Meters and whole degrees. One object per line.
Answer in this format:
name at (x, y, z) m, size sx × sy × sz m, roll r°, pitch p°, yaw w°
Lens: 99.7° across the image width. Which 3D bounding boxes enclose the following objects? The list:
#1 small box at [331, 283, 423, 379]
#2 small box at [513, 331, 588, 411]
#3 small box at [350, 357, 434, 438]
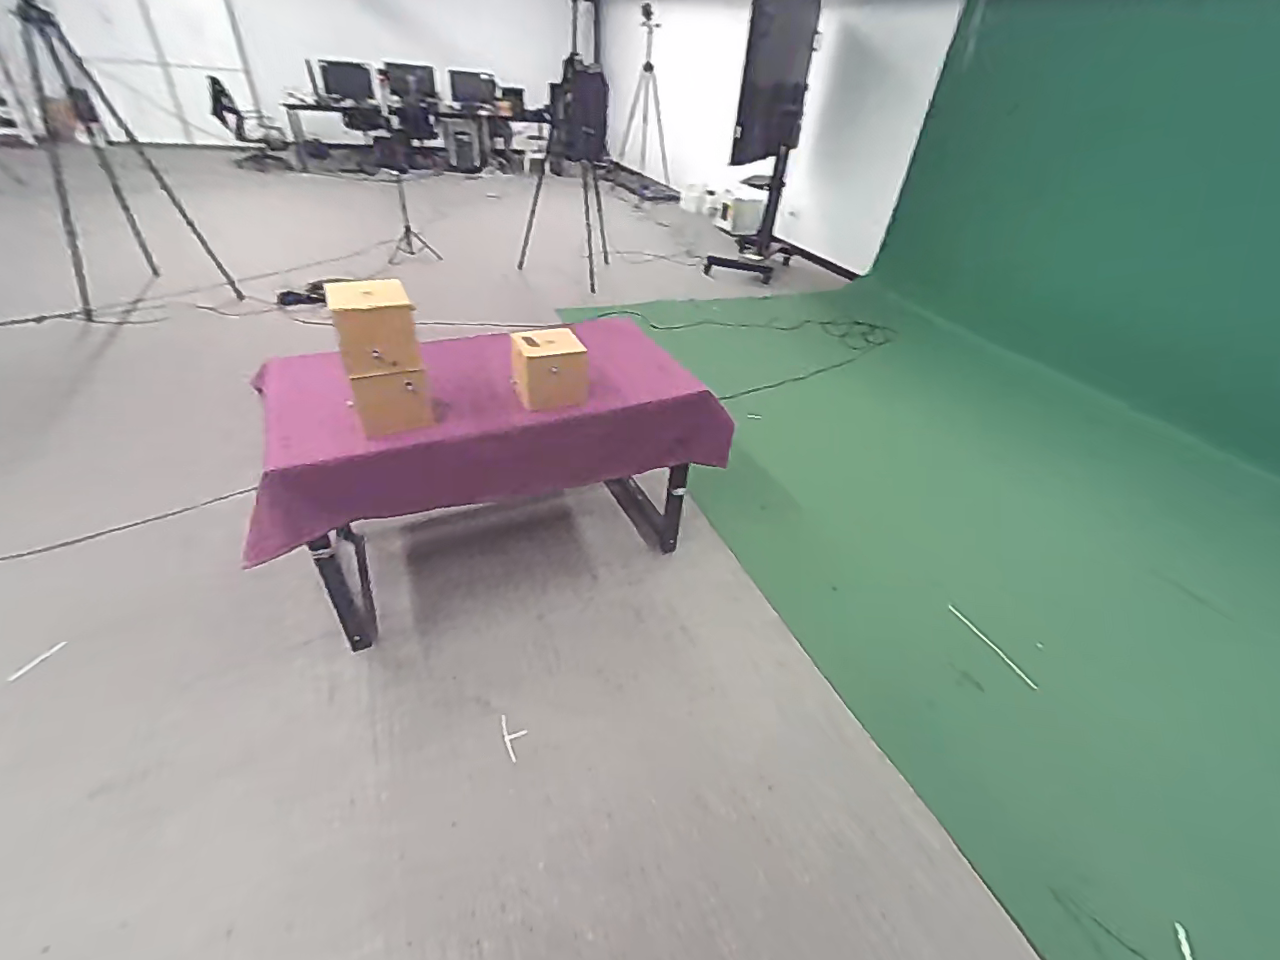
small box at (-0.634, -0.361, 1.307) m, size 0.168 × 0.176 × 0.179 m, roll -14°, pitch 42°, yaw -24°
small box at (-0.259, -0.313, 1.563) m, size 0.179 × 0.176 × 0.168 m, roll -12°, pitch 41°, yaw -22°
small box at (-0.642, -0.230, 1.403) m, size 0.179 × 0.176 × 0.168 m, roll -14°, pitch 41°, yaw -24°
